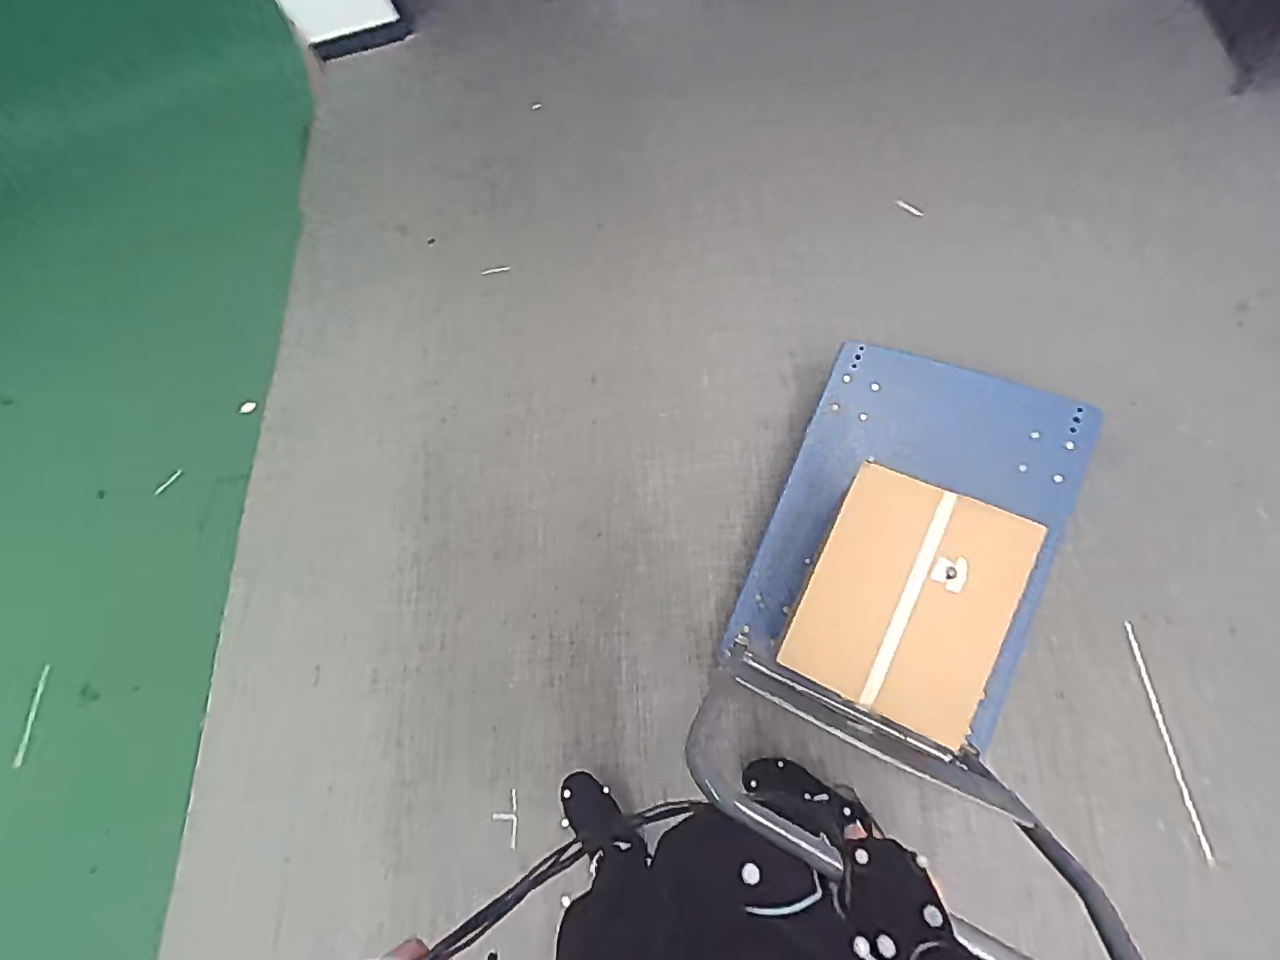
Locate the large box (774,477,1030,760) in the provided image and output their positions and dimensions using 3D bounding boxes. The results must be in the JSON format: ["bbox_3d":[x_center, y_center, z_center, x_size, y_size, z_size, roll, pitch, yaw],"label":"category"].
[{"bbox_3d":[0.490,0.262,1.087,0.320,0.320,0.408,24,83,18],"label":"large box"}]
